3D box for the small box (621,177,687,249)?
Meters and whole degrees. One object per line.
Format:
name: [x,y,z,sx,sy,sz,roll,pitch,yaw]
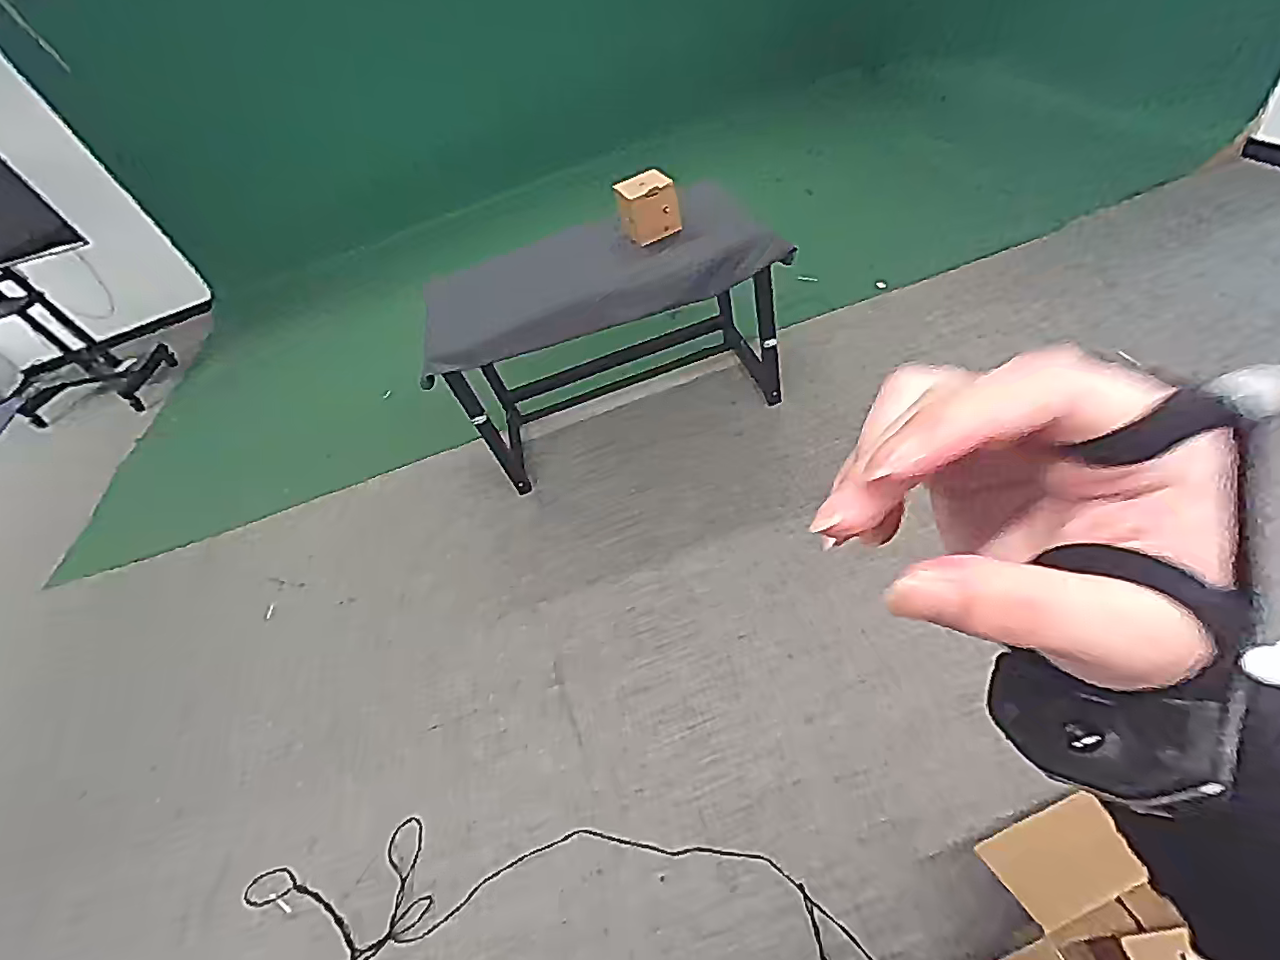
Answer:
small box: [0.054,-0.950,1.934,0.168,0.176,0.179,-24,45,-6]
